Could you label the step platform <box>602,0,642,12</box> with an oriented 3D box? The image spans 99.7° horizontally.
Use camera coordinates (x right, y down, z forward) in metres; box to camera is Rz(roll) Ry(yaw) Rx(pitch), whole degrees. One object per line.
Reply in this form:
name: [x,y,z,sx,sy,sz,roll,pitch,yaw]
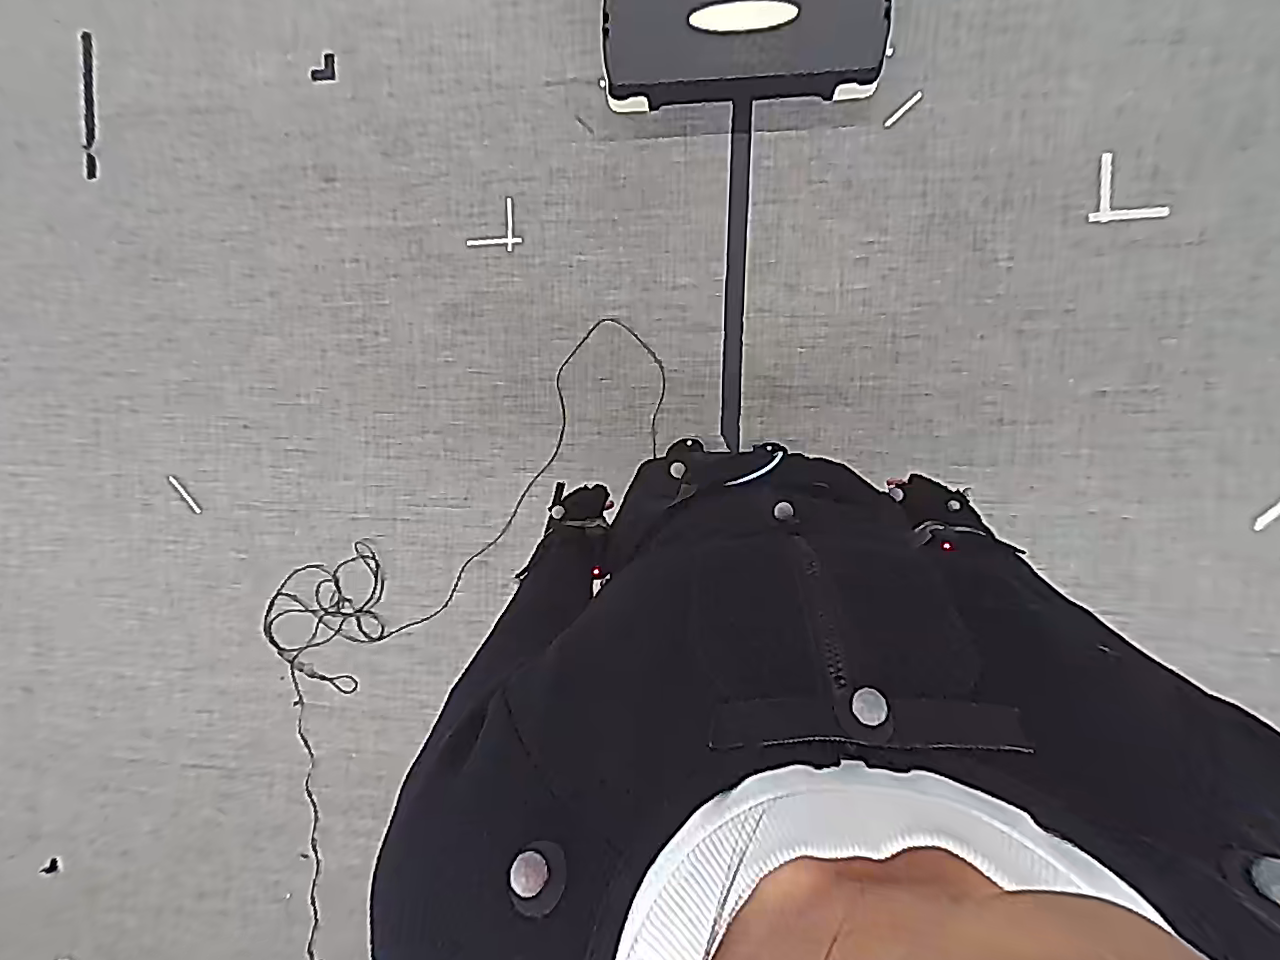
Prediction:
step platform: [0.216,-1.328,1.246,0.684,0.204,0.286,0,95,6]
